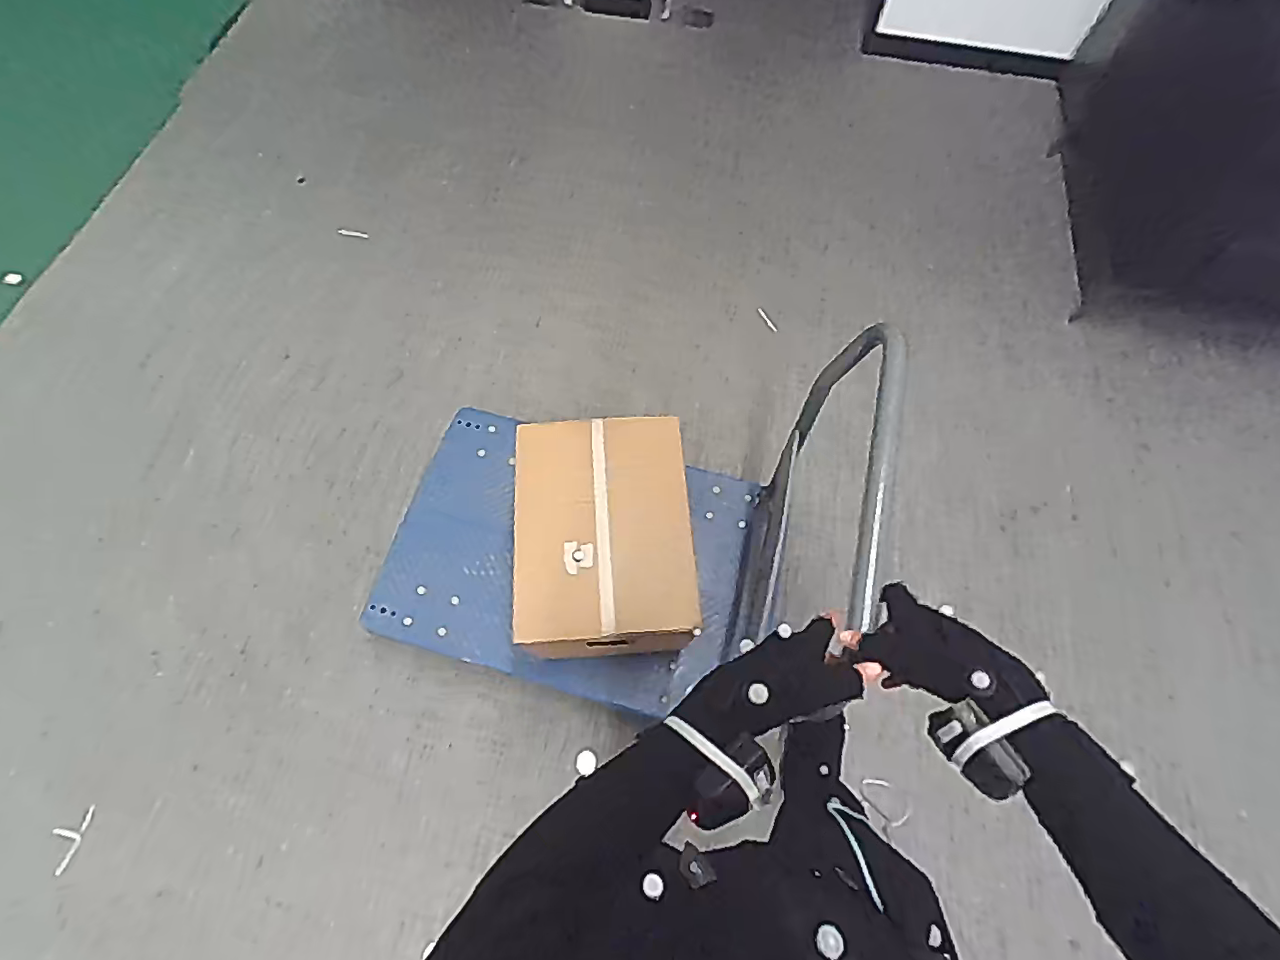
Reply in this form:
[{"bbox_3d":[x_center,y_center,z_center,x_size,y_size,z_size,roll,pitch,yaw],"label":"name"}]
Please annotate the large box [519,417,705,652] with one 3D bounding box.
[{"bbox_3d":[-0.066,0.122,1.102,0.320,0.320,0.408,-3,68,-3],"label":"large box"}]
